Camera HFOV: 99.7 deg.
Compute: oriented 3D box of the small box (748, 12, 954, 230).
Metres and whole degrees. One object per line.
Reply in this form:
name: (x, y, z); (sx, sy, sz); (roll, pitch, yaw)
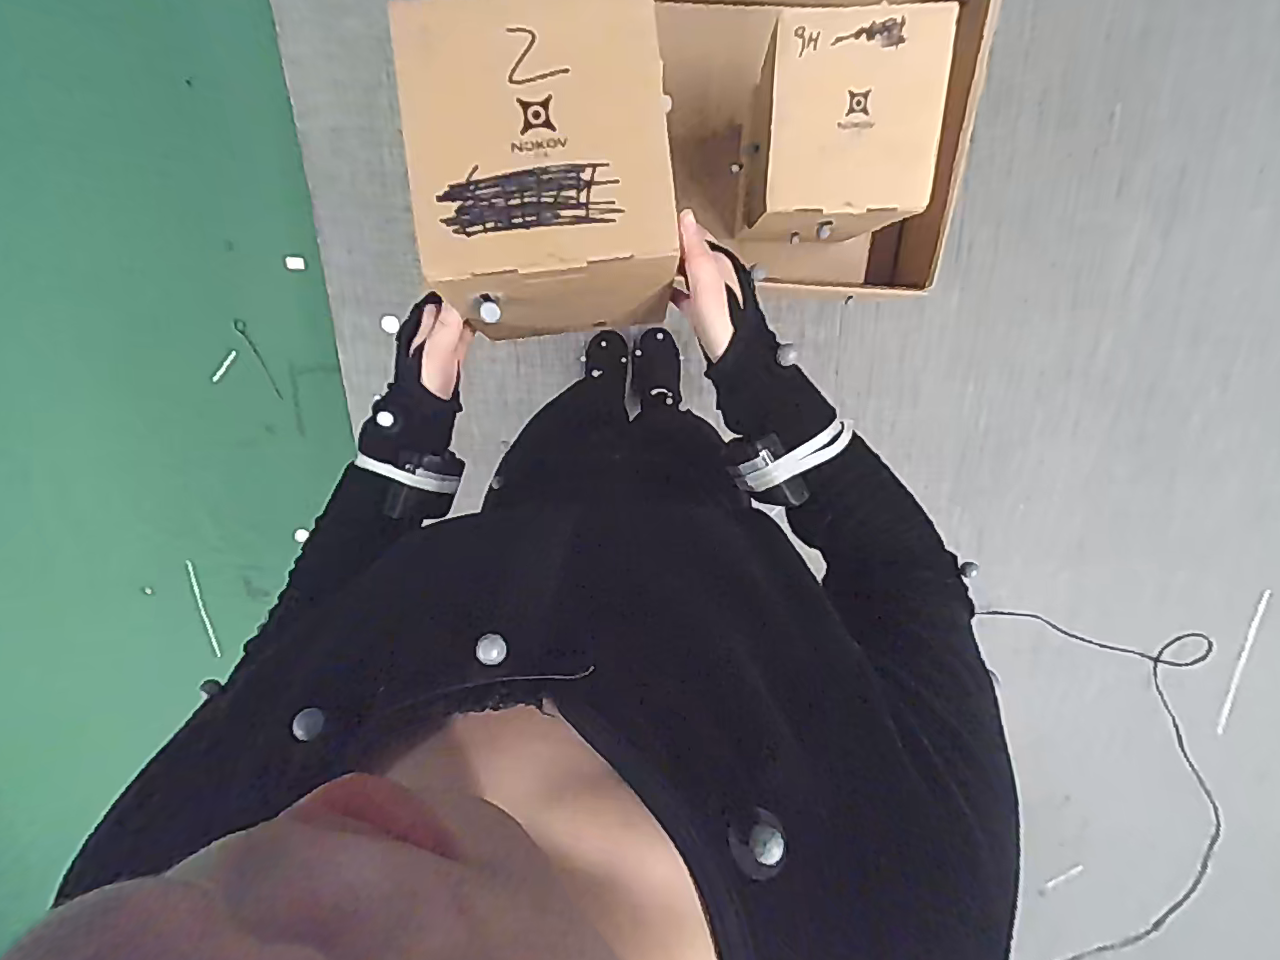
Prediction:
small box: (0.217, -0.385, 0.612); (0.168, 0.176, 0.179); (3, 110, 4)
